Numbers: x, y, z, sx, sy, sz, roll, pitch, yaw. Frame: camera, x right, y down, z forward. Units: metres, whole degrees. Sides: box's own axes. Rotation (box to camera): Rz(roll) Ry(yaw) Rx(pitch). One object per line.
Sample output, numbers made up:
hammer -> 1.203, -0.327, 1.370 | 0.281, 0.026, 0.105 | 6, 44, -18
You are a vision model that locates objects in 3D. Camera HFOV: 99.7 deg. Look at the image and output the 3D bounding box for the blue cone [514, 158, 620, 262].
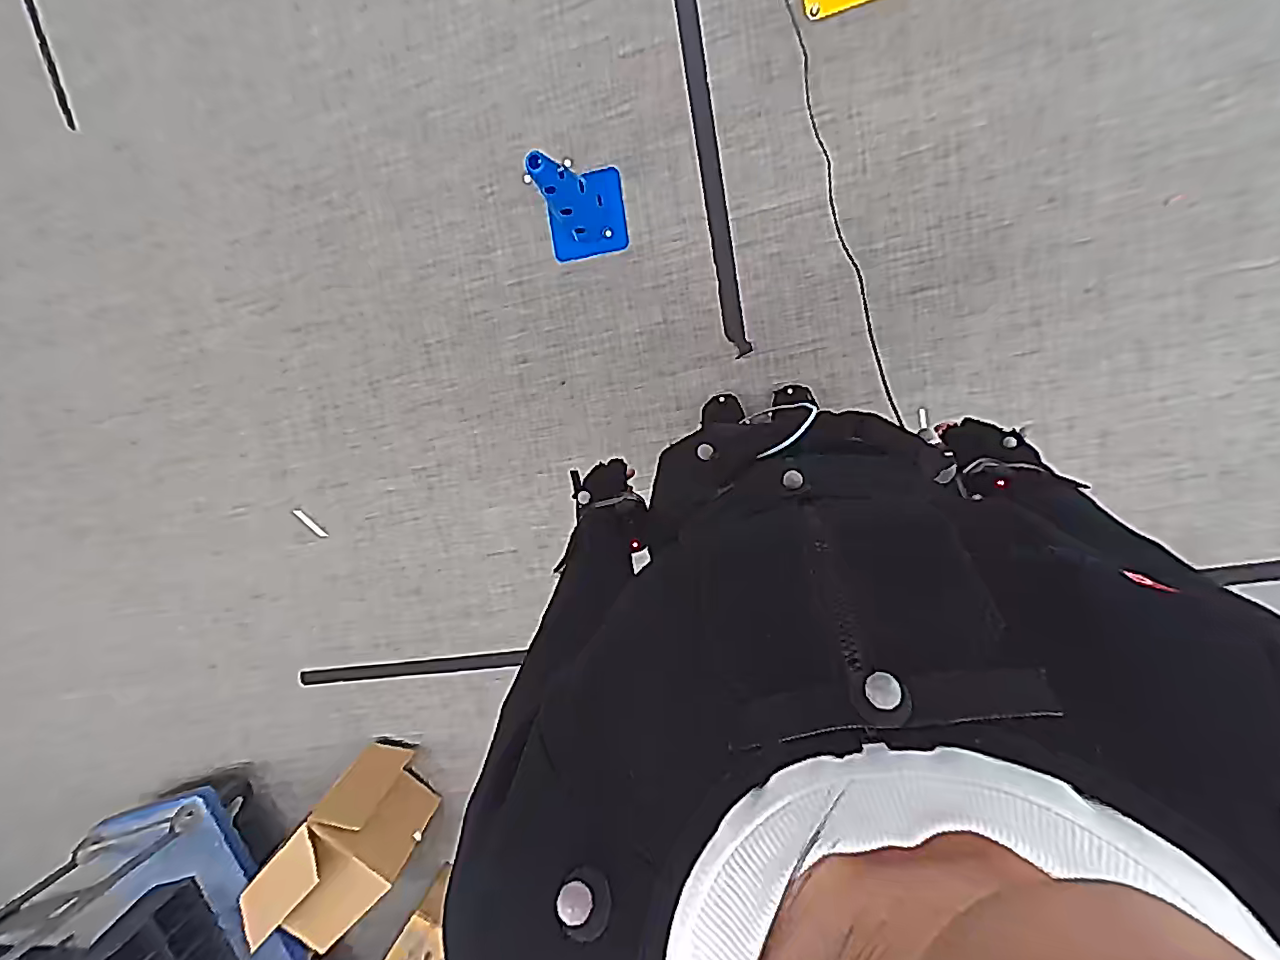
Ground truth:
blue cone -> -0.181, -0.642, 1.226 | 0.192, 0.380, 0.193 | -5, 99, 13
